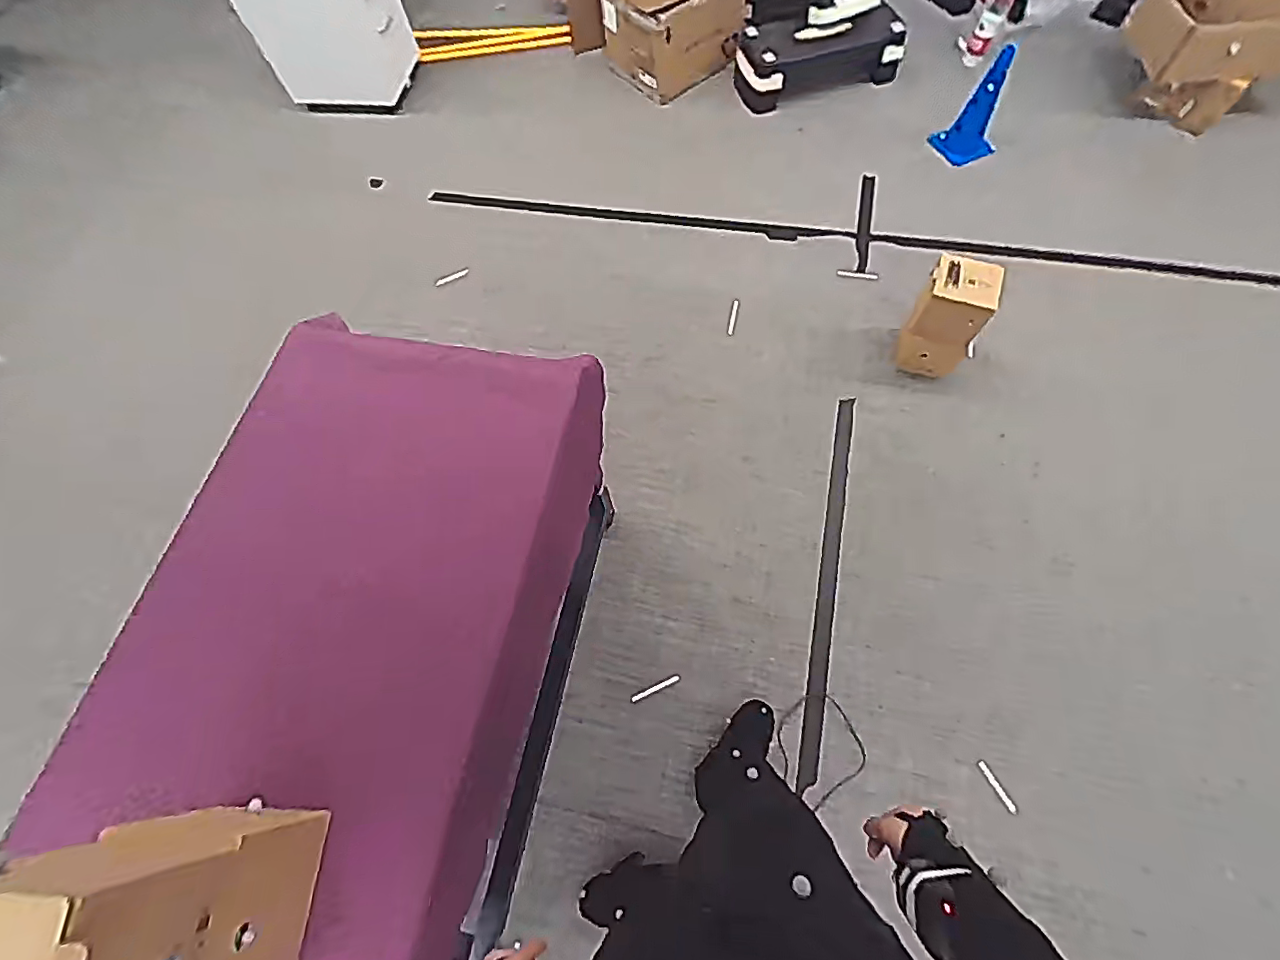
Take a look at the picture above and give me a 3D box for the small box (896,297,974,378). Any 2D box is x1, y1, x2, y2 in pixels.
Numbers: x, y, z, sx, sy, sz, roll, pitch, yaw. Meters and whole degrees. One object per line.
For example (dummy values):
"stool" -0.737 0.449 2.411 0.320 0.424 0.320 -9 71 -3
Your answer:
"small box" 0.946 -0.453 1.744 0.168 0.176 0.179 14 68 9

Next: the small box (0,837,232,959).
"small box" -0.523 0.430 0.476 0.179 0.176 0.168 0 67 3

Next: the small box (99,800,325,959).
"small box" -0.507 0.489 0.629 0.168 0.176 0.179 1 66 4
